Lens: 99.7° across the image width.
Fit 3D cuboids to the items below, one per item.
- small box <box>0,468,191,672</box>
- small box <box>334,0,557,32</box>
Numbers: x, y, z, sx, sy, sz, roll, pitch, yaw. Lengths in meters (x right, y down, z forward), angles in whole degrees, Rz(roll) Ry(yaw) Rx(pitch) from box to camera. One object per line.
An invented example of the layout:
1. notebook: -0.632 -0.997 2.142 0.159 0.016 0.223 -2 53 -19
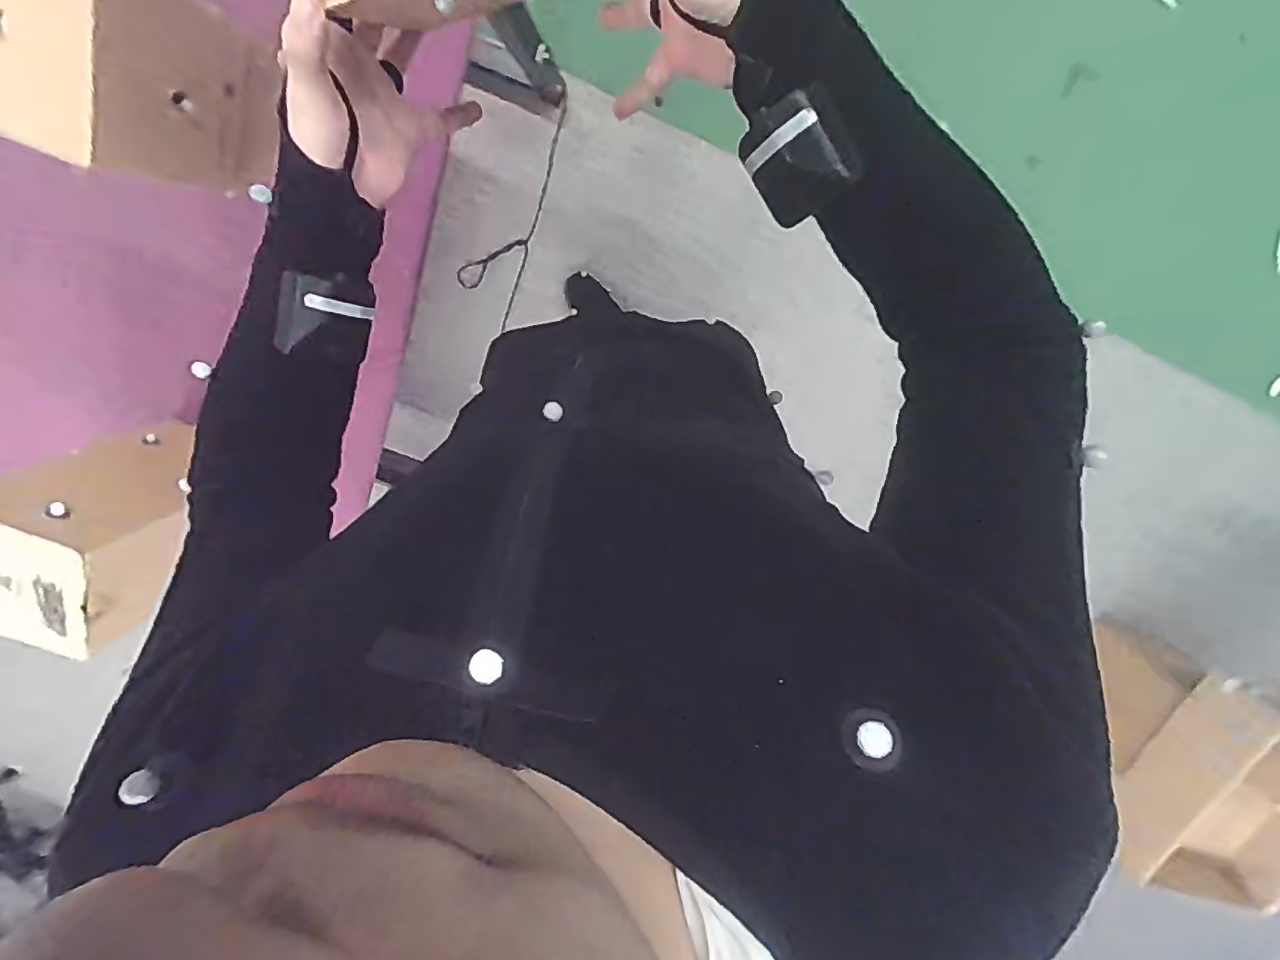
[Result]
1. small box: -0.722 0.103 0.686 0.179 0.176 0.168 21 110 -4
2. small box: -0.098 -0.370 0.282 0.168 0.176 0.179 -10 126 8
